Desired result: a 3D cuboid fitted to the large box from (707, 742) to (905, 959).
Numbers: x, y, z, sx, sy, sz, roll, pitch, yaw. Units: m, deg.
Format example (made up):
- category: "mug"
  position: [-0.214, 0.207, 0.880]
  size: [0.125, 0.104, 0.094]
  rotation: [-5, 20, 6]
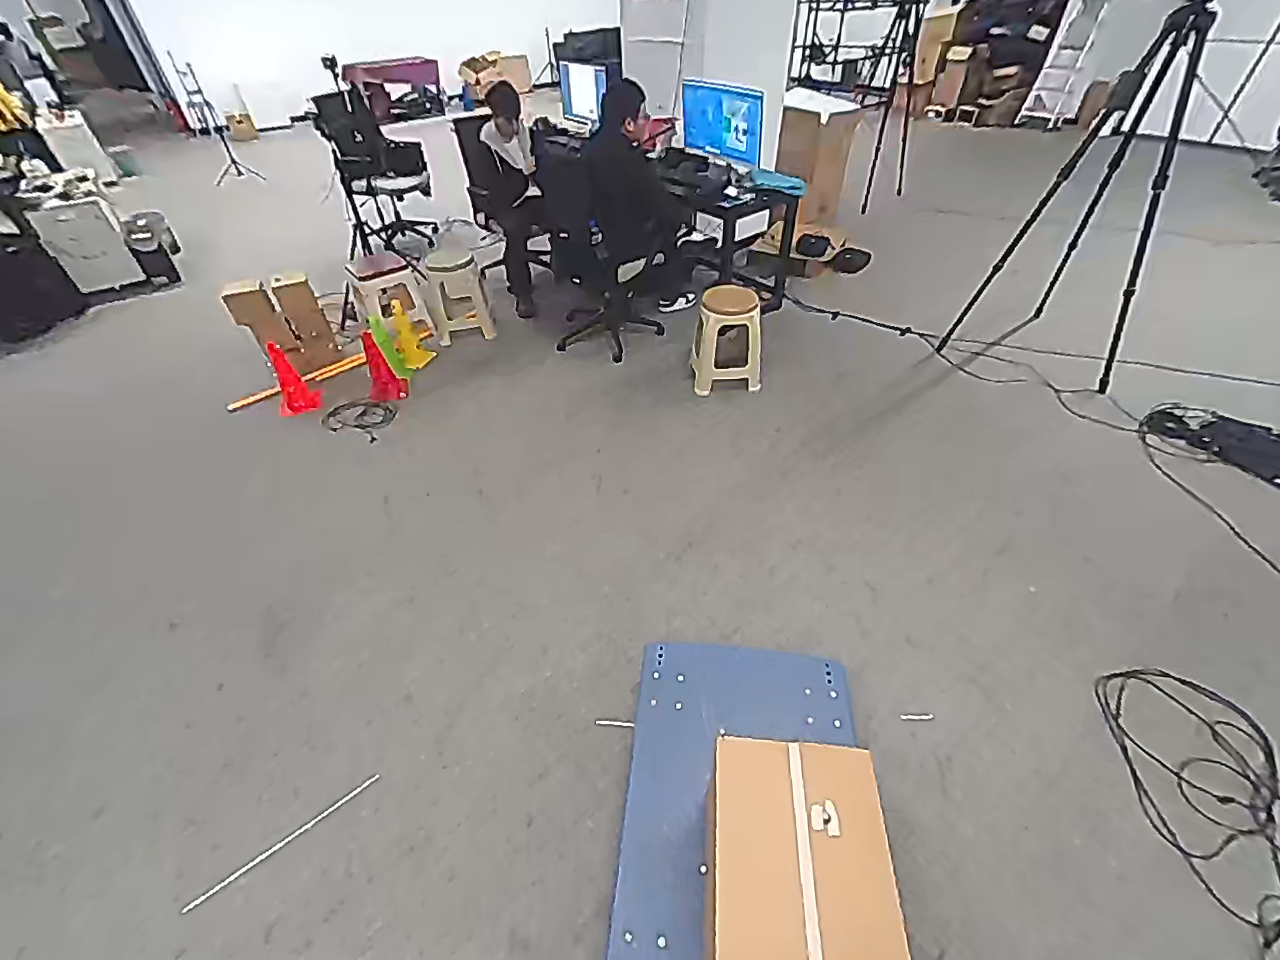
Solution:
- category: "large box"
  position: [0.295, 0.804, 1.084]
  size: [0.320, 0.320, 0.408]
  rotation: [4, 42, 5]
